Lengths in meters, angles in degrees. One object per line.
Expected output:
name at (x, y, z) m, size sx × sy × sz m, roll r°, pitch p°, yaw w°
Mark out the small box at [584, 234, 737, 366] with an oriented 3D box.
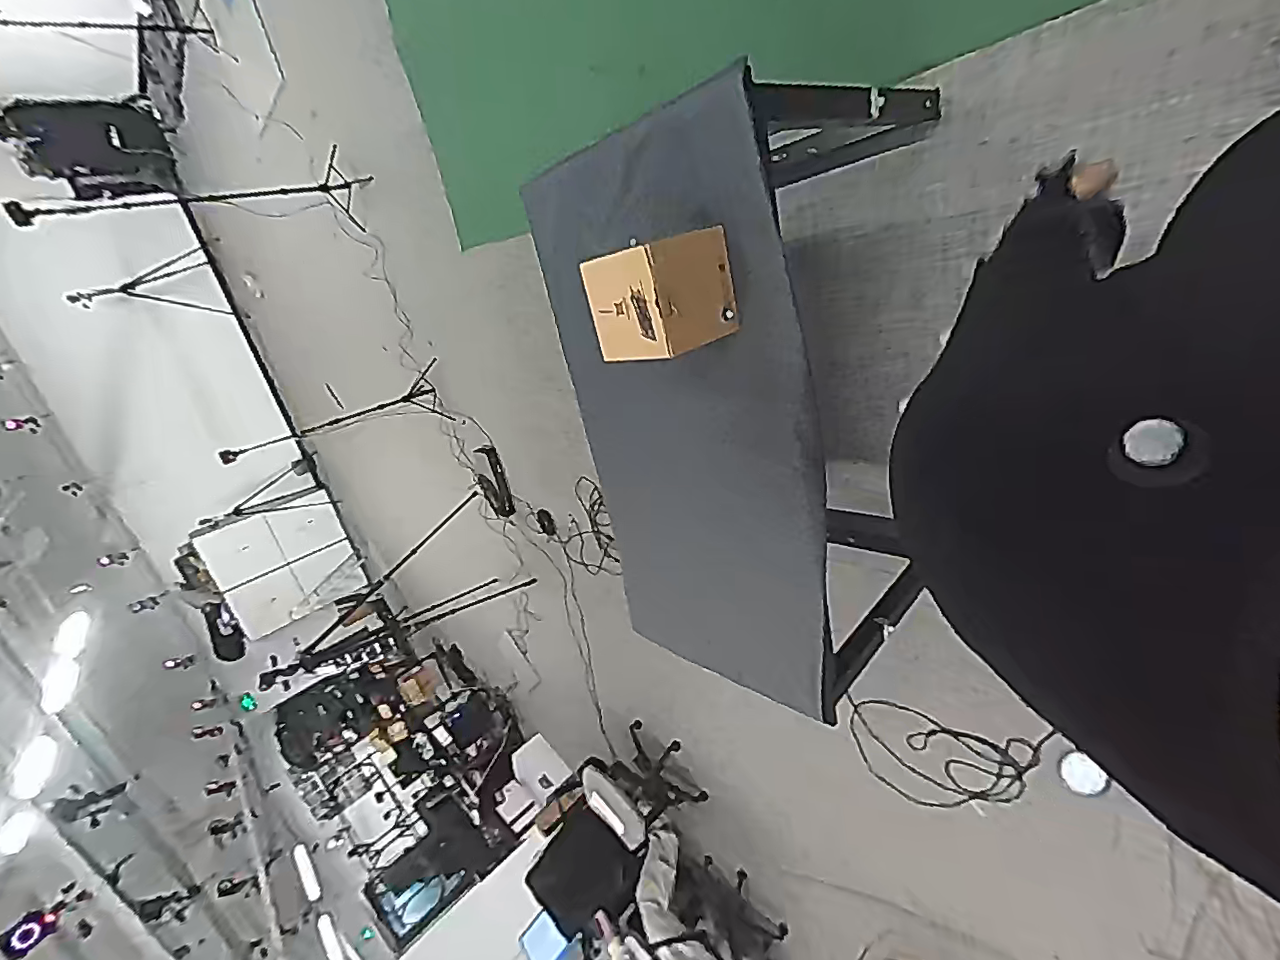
small box at (0.042, -0.293, 0.889) m, size 0.179 × 0.176 × 0.168 m, roll 12°, pitch 124°, yaw 49°
